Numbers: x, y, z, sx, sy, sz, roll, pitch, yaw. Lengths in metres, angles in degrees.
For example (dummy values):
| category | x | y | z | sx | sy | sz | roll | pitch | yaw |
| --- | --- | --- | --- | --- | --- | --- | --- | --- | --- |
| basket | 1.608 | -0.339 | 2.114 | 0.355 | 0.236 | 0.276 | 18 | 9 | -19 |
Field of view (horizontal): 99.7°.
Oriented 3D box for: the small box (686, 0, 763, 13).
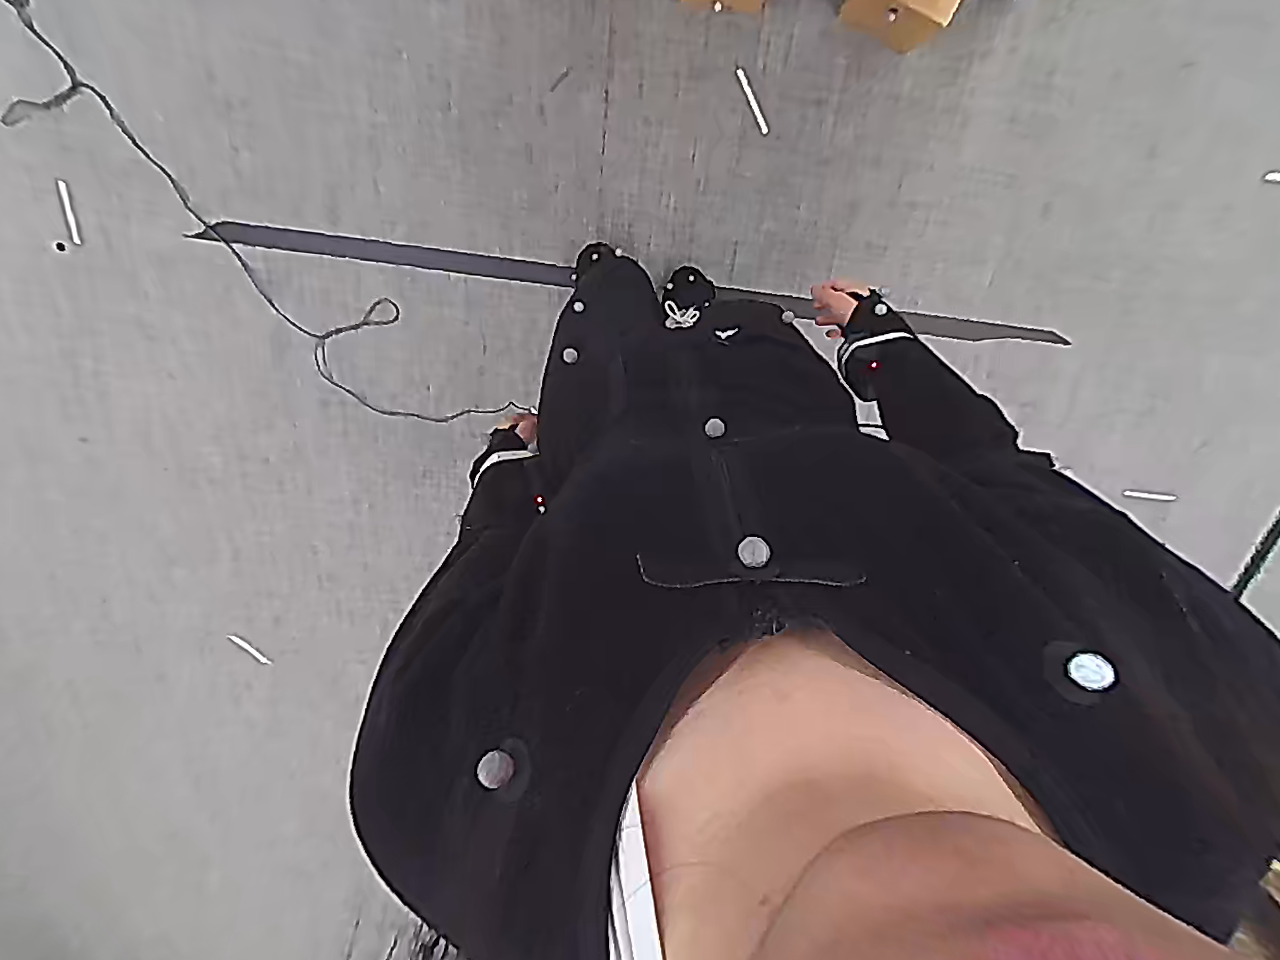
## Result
| category | x | y | z | sx | sy | sz | roll | pitch | yaw |
| --- | --- | --- | --- | --- | --- | --- | --- | --- | --- |
| small box | 0.173 | -1.027 | 1.016 | 0.168 | 0.176 | 0.179 | 5 | 114 | -1 |

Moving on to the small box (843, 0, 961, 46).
| category | x | y | z | sx | sy | sz | roll | pitch | yaw |
| --- | --- | --- | --- | --- | --- | --- | --- | --- | --- |
| small box | 0.526 | -0.977 | 1.035 | 0.179 | 0.176 | 0.168 | 22 | 113 | -7 |
